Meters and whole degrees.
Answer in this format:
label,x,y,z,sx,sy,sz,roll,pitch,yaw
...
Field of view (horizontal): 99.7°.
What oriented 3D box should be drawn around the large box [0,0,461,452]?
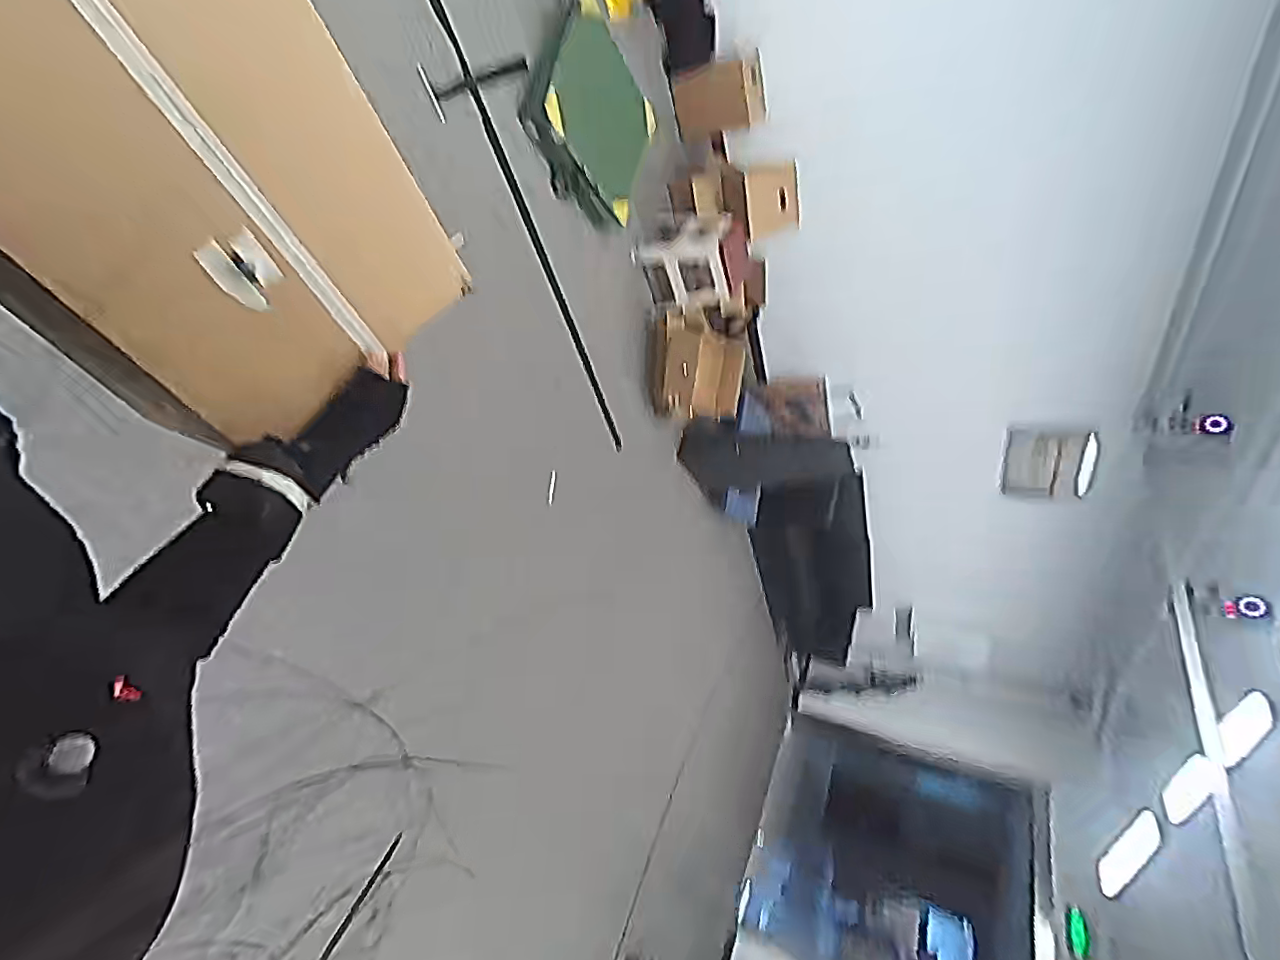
label,x,y,z,sx,sy,sz,roll,pitch,yaw
large box,-0.474,-0.290,0.530,0.320,0.320,0.408,-56,142,-28
